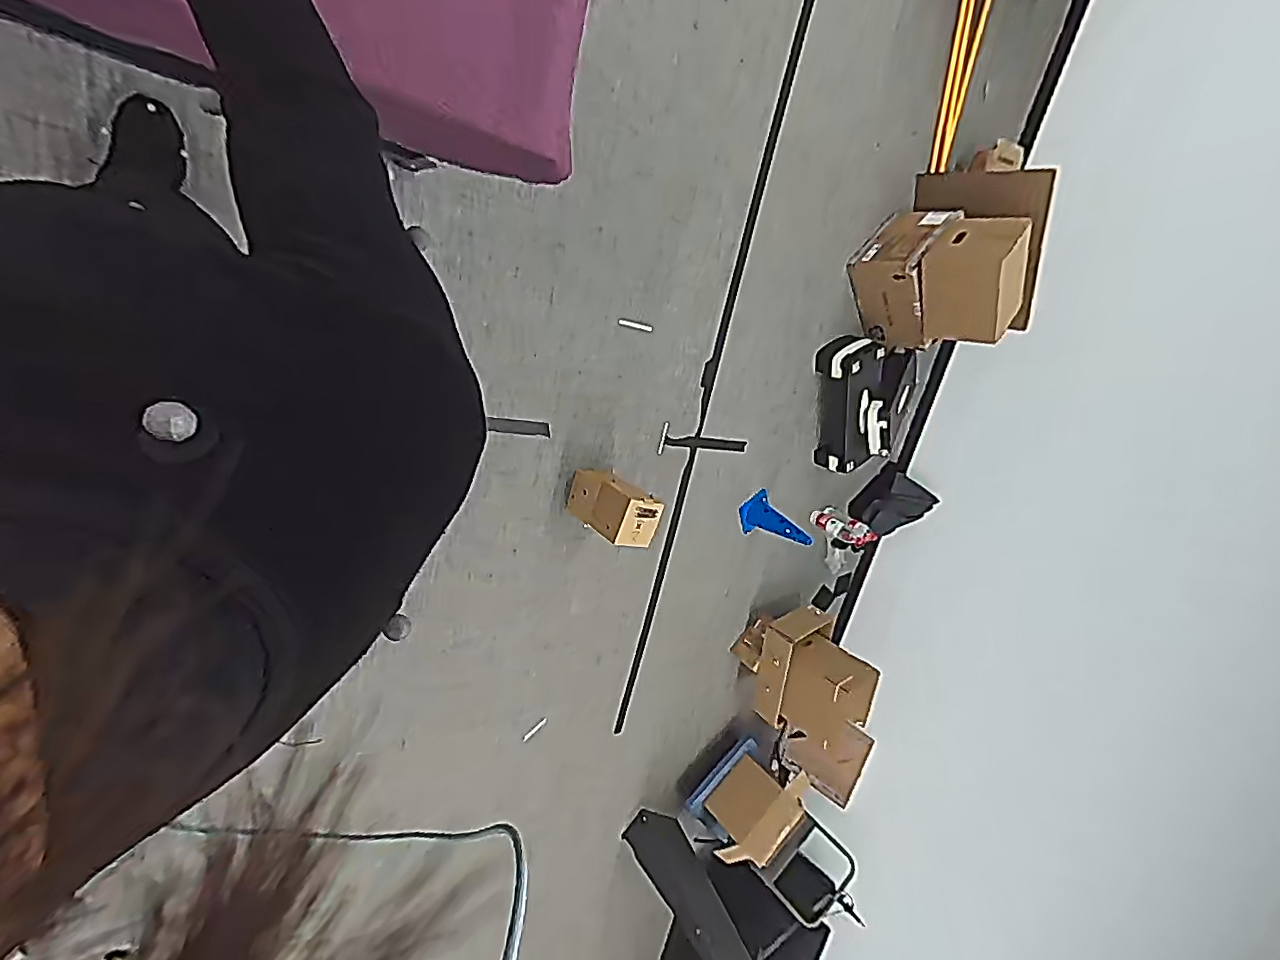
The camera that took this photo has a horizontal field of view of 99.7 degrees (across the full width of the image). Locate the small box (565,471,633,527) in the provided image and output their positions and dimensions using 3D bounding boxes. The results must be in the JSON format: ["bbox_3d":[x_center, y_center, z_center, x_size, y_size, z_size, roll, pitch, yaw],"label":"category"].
[{"bbox_3d":[-0.161,0.070,2.048,0.179,0.176,0.168,5,108,-41],"label":"small box"}]
